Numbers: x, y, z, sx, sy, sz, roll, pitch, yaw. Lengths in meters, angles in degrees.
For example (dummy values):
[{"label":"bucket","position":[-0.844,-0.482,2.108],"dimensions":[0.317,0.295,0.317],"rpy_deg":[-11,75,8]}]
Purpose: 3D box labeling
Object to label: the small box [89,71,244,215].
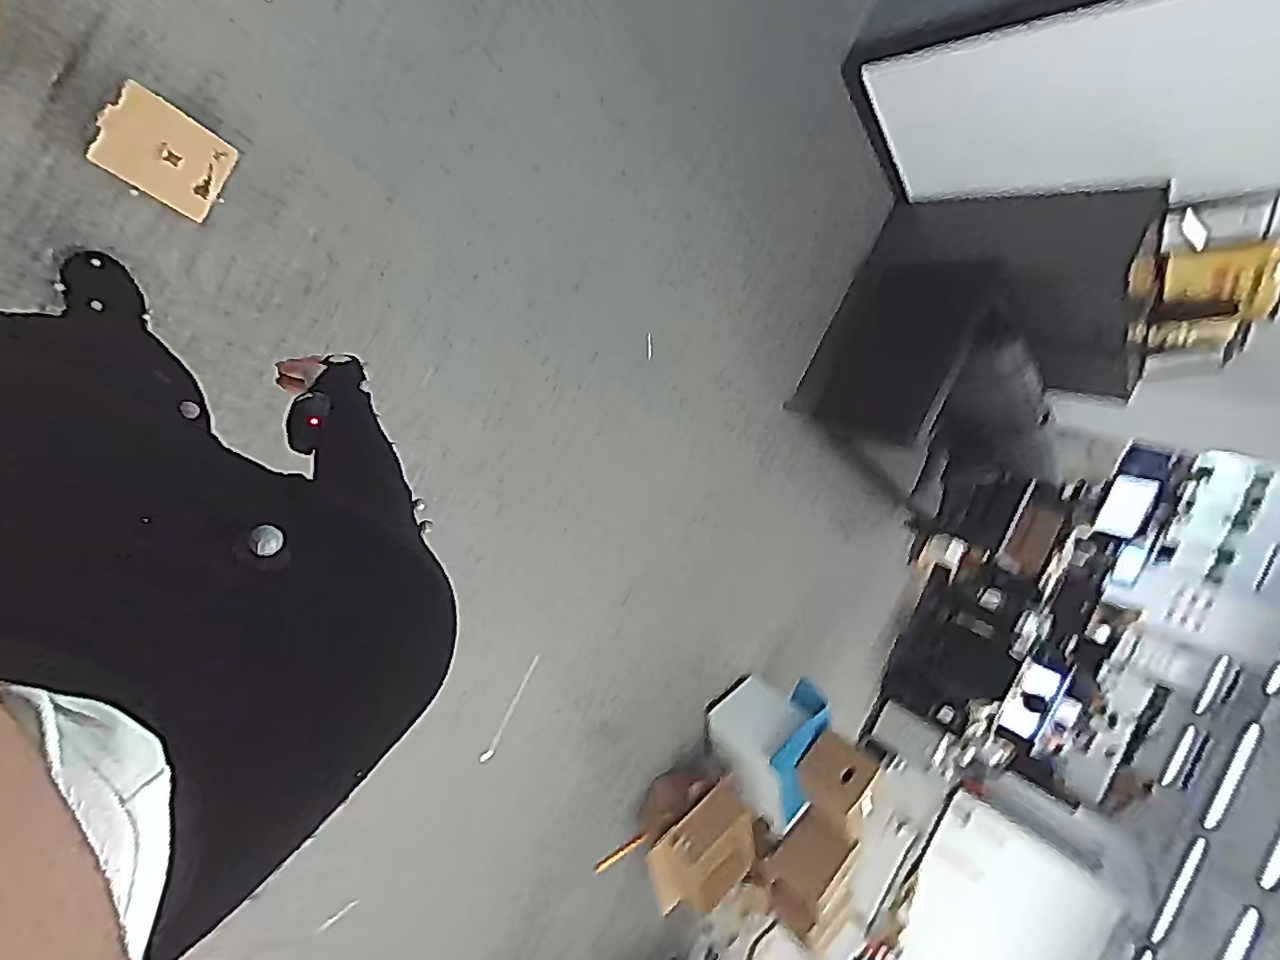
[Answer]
[{"label":"small box","position":[-0.924,-0.644,1.063],"dimensions":[0.179,0.176,0.168],"rpy_deg":[30,87,-45]}]
